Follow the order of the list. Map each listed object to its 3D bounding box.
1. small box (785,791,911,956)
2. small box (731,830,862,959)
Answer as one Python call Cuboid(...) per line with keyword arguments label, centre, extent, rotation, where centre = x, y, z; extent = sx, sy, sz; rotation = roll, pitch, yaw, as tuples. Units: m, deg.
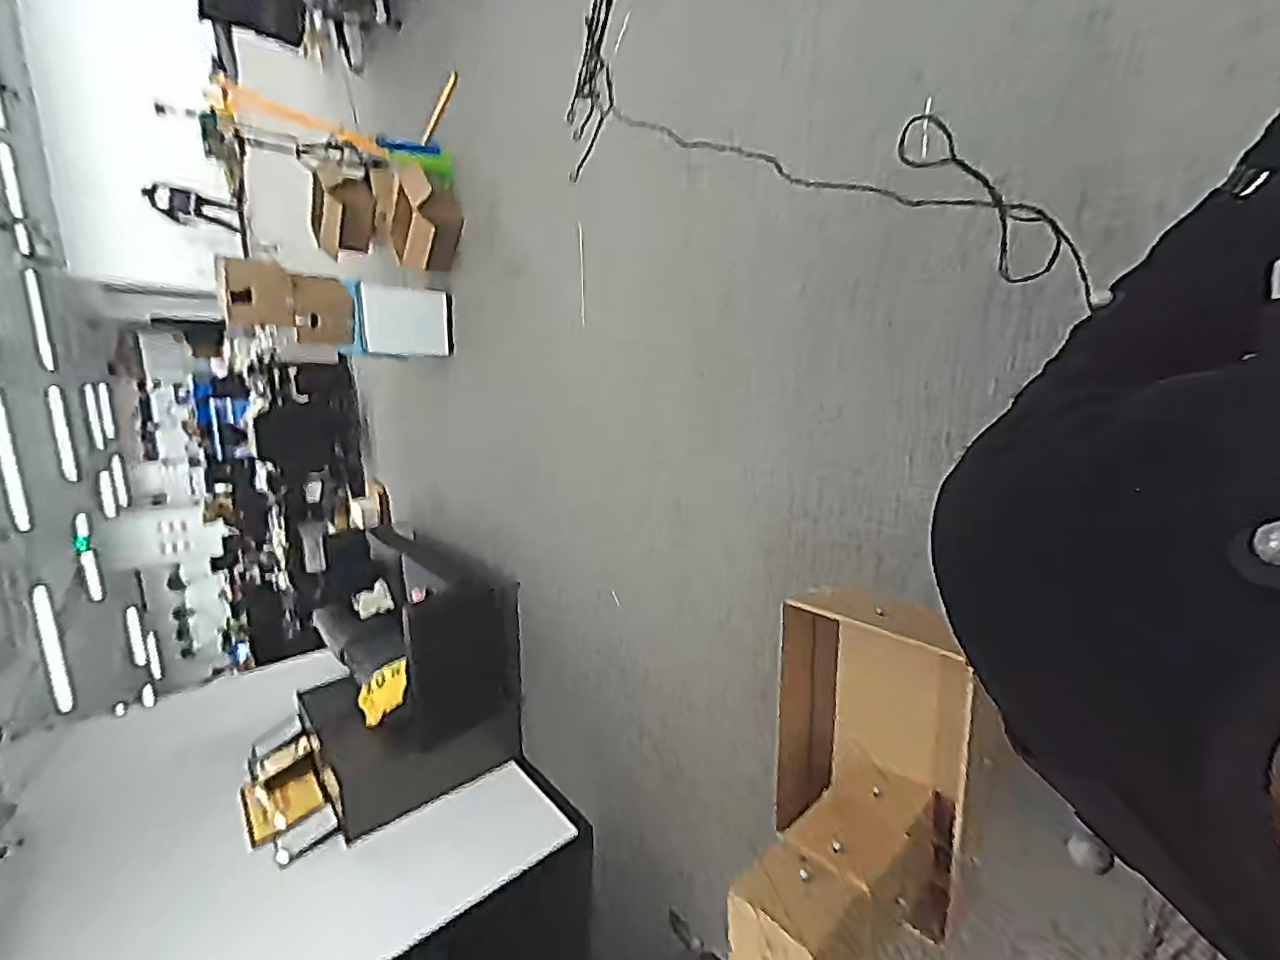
Cuboid(label="small box", centre=(0.407, 0.750, 1.061), extent=(0.179, 0.176, 0.168), rotation=(3, 99, 48))
Cuboid(label="small box", centre=(0.279, 0.780, 0.960), extent=(0.168, 0.176, 0.179), rotation=(6, 101, 47))
